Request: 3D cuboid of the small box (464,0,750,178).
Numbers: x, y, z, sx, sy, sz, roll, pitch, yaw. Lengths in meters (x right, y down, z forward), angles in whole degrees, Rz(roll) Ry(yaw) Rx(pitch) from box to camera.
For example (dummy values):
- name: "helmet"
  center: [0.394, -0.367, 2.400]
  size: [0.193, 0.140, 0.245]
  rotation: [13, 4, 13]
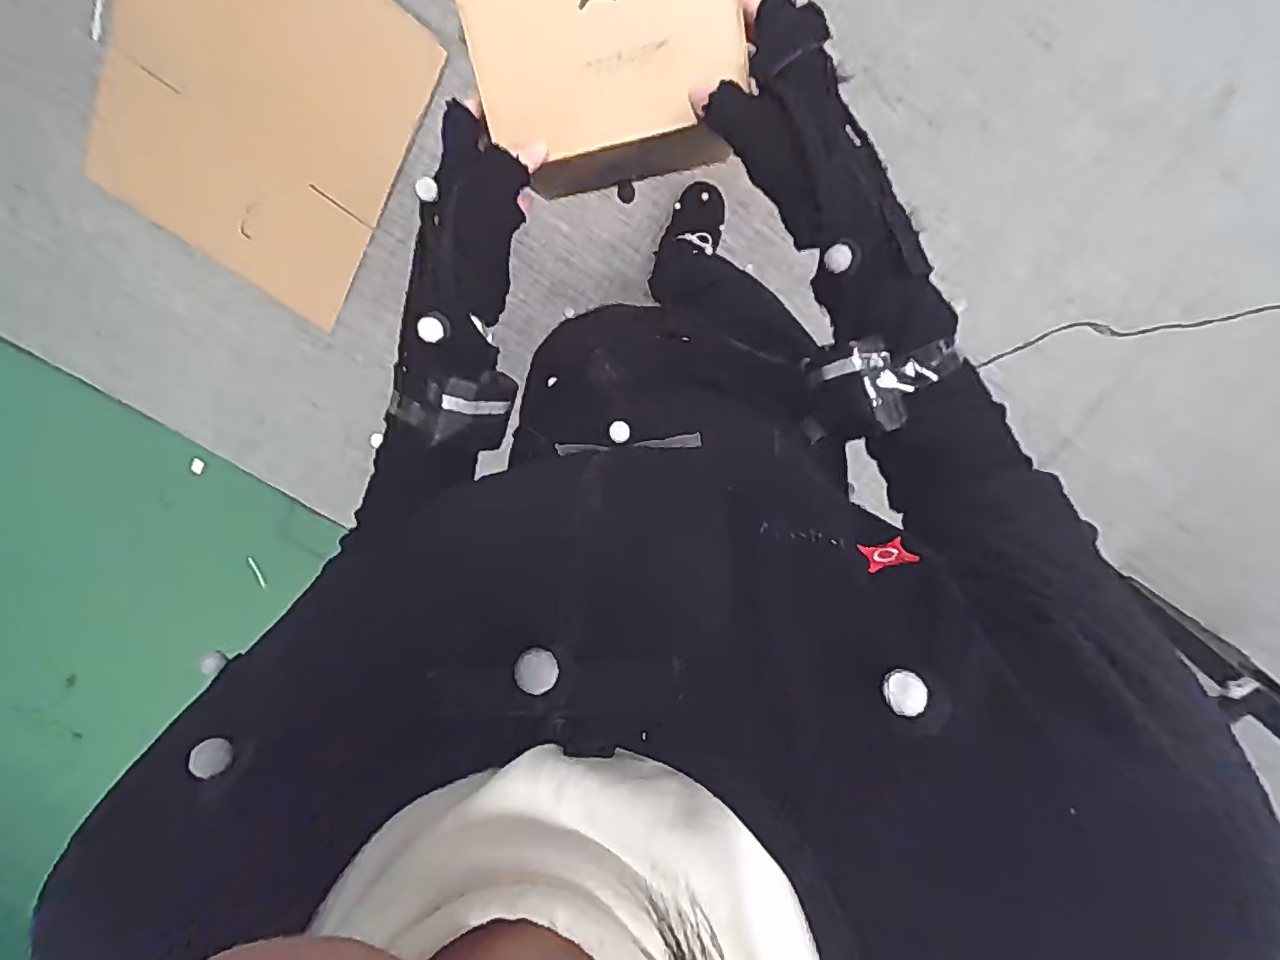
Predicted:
- name: "small box"
  center: [-0.023, -0.339, 0.385]
  size: [0.168, 0.176, 0.179]
  rotation: [-10, 112, 9]
